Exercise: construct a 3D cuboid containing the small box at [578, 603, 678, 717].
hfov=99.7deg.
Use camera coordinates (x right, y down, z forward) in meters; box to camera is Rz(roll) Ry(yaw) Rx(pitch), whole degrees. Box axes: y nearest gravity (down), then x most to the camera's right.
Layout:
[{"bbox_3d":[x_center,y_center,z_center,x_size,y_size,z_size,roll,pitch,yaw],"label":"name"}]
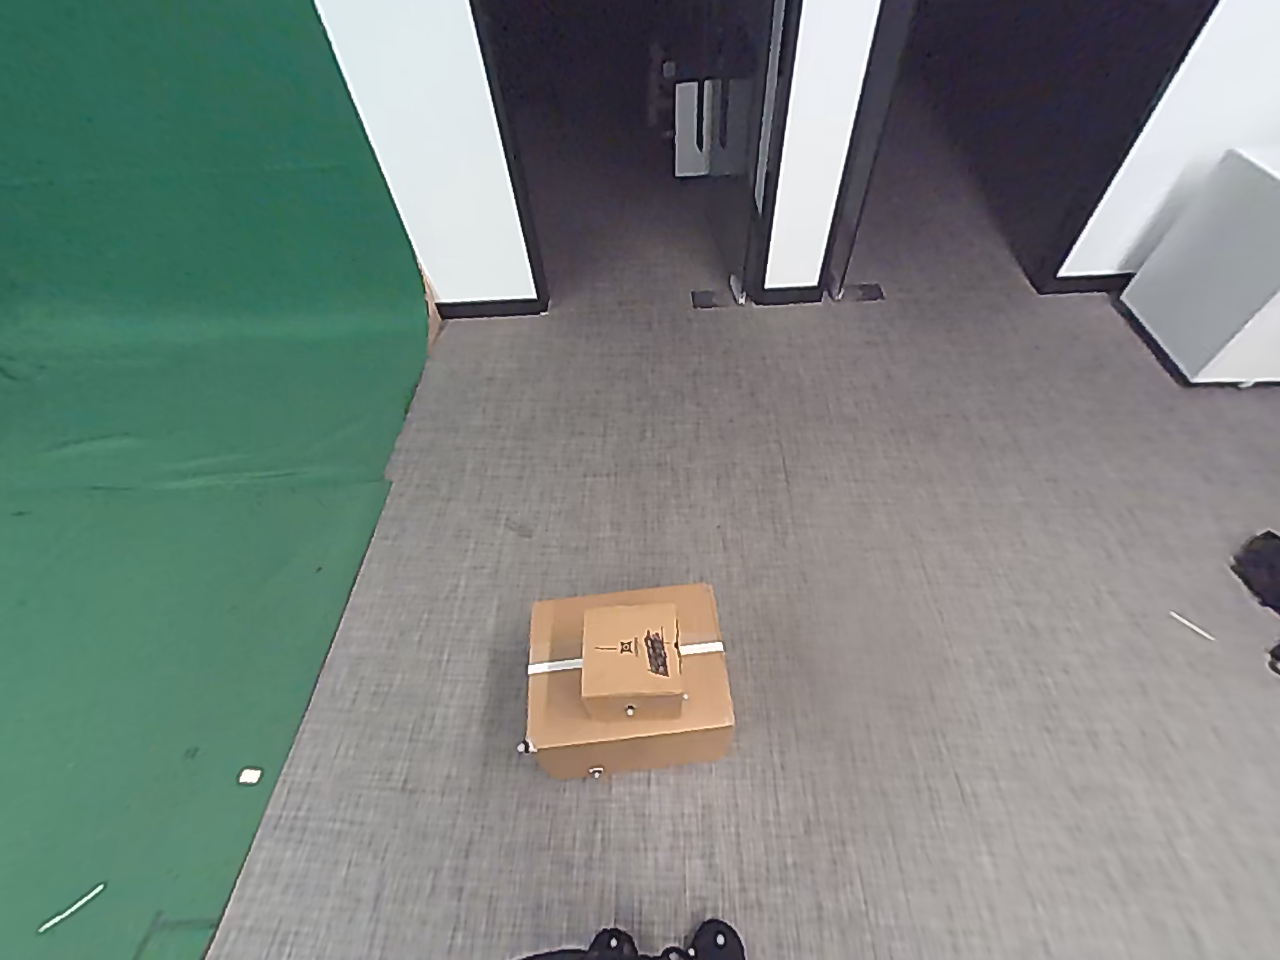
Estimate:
[{"bbox_3d":[-0.019,0.350,1.043,0.179,0.176,0.168,-3,52,2],"label":"small box"}]
